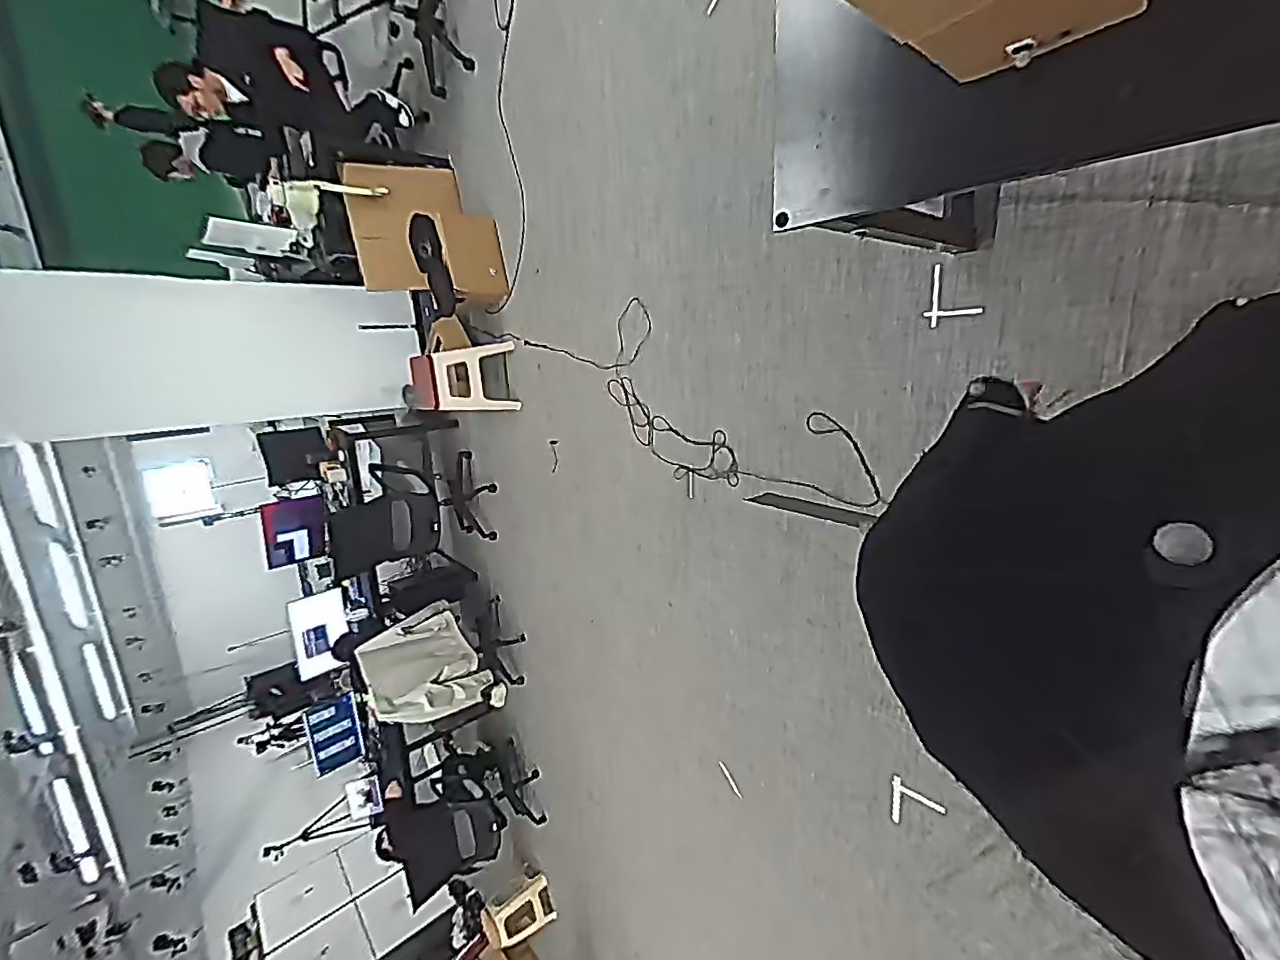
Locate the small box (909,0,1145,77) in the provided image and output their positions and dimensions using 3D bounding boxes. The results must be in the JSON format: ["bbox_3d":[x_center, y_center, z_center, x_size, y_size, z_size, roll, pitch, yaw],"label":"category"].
[{"bbox_3d":[0.381,-0.542,0.526,0.168,0.176,0.179,8,108,50],"label":"small box"}]

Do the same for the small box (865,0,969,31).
[{"bbox_3d":[0.256,-0.508,0.424,0.179,0.176,0.168,6,106,49],"label":"small box"}]
